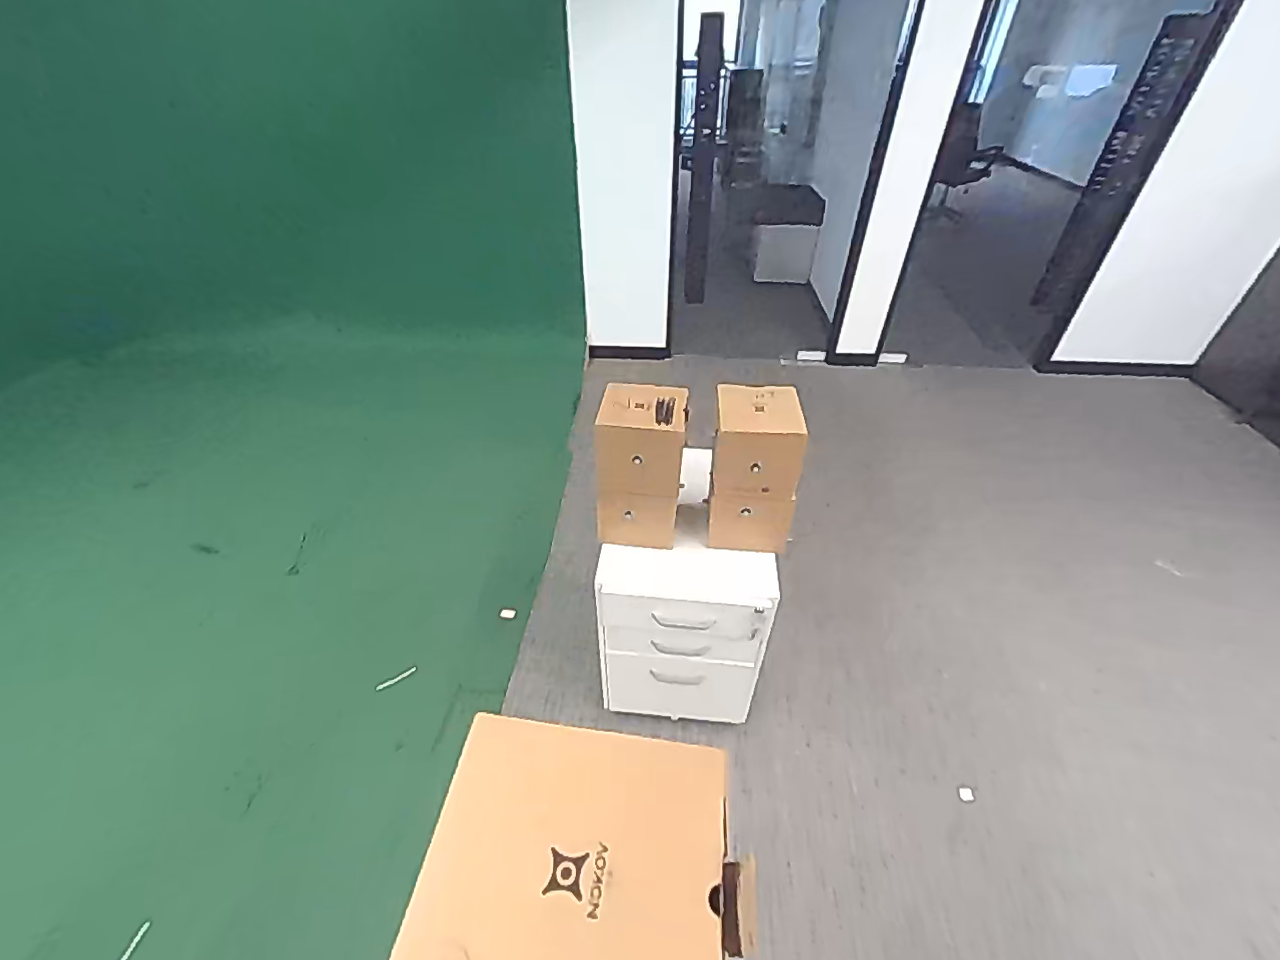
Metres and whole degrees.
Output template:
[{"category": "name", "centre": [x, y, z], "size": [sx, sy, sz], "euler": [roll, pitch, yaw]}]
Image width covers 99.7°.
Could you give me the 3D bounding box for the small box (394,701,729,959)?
[{"category": "small box", "centre": [-0.038, 0.281, 0.375], "size": [0.179, 0.176, 0.168], "euler": [7, 43, 4]}]

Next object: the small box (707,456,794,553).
[{"category": "small box", "centre": [0.247, 0.051, 1.246], "size": [0.179, 0.176, 0.168], "euler": [4, 40, 4]}]

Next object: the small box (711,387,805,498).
[{"category": "small box", "centre": [0.242, -0.079, 1.144], "size": [0.168, 0.176, 0.179], "euler": [3, 40, 3]}]

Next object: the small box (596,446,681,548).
[{"category": "small box", "centre": [-0.001, 0.041, 1.253], "size": [0.179, 0.176, 0.168], "euler": [5, 41, 4]}]
